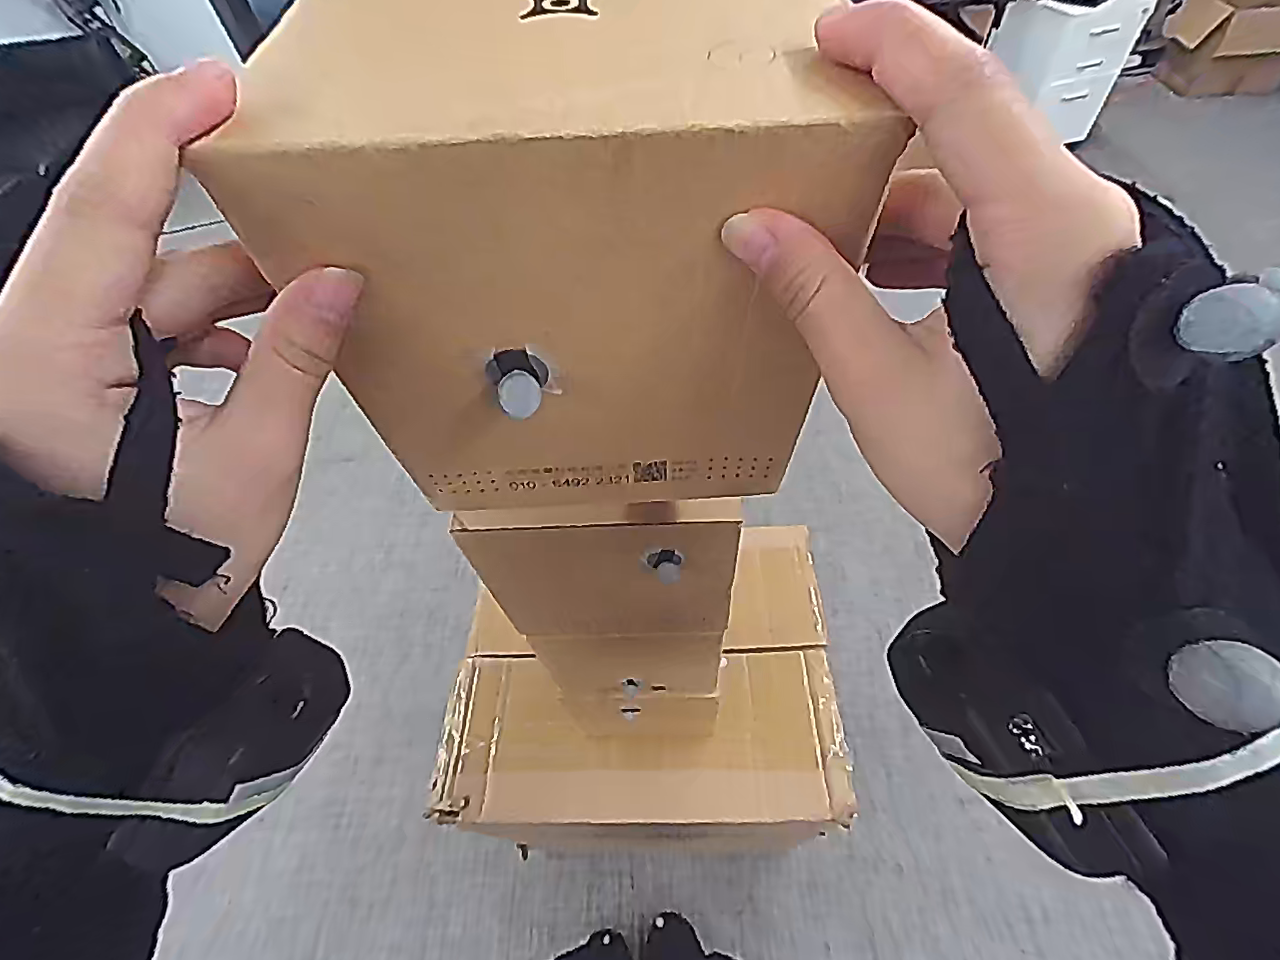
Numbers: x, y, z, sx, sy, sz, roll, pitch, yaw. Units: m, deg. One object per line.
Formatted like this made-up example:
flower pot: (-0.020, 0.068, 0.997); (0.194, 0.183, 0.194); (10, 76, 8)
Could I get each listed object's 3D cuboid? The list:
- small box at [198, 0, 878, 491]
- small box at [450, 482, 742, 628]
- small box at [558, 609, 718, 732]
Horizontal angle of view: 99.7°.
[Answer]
small box: (-0.024, -0.105, 0.238); (0.168, 0.176, 0.179); (-4, 57, 0)
small box: (-0.021, 0.008, 0.428); (0.179, 0.176, 0.168); (-3, 53, 4)
small box: (0.005, 0.213, 0.684); (0.179, 0.176, 0.168); (-2, 53, 4)
